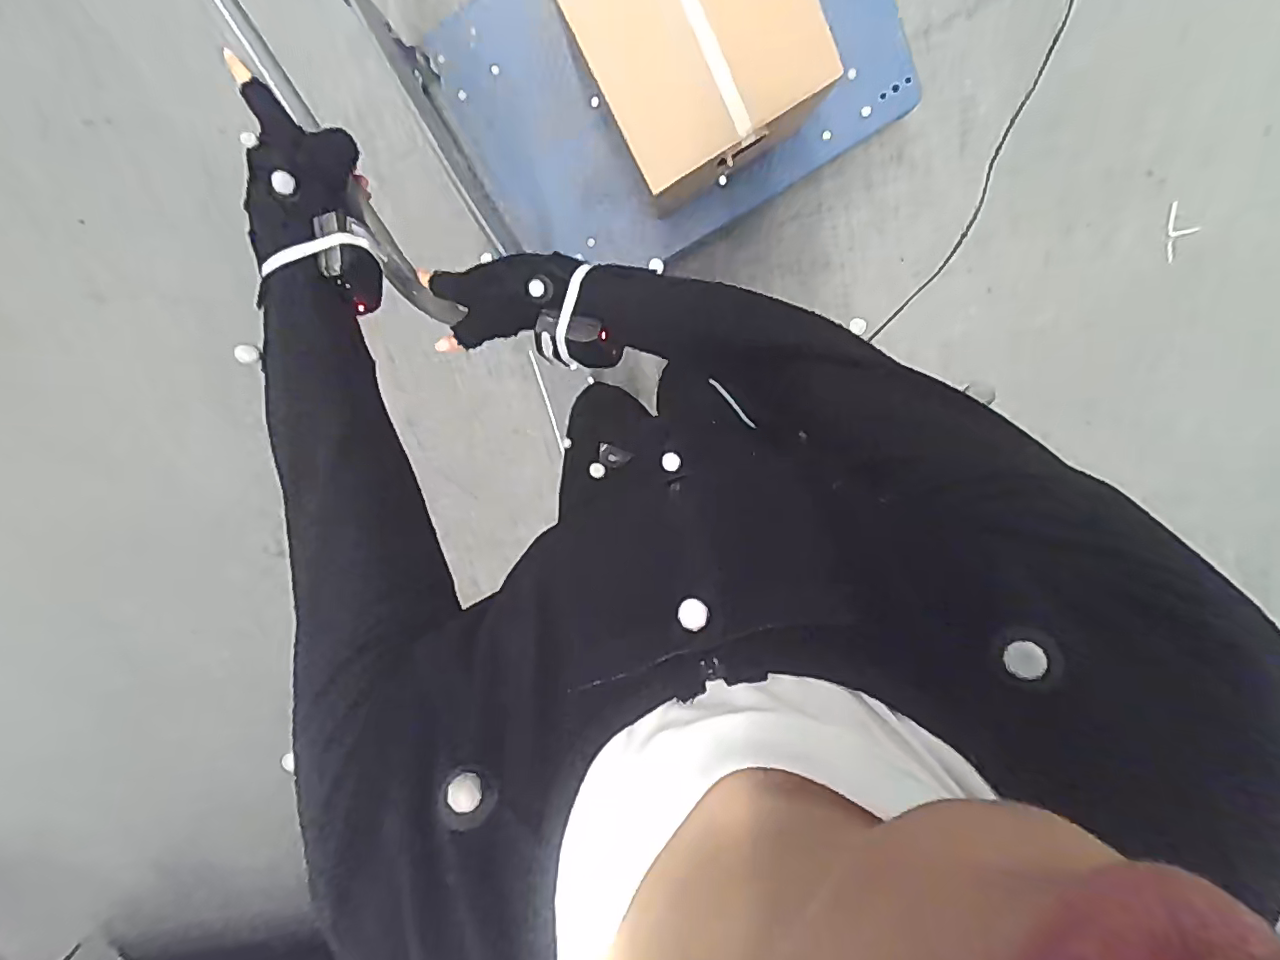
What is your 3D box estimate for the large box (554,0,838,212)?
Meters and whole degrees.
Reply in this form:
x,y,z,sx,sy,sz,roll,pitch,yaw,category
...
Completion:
x,y,z,sx,sy,sz,roll,pitch,yaw,category
0.067,-0.730,0.890,0.320,0.320,0.408,-27,105,12,large box
